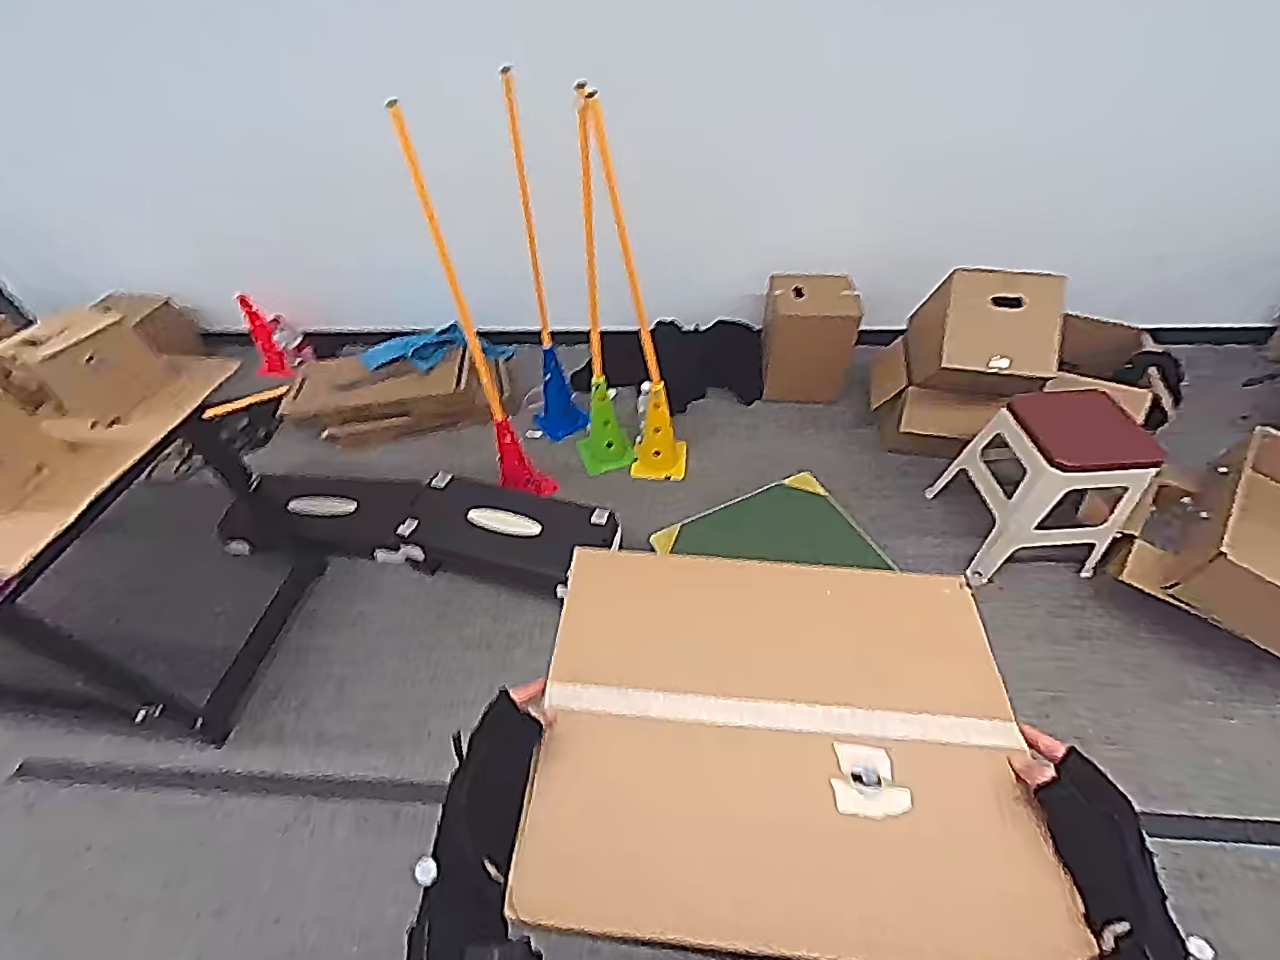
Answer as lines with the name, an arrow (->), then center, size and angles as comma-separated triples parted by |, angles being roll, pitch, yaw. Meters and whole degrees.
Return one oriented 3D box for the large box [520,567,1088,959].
large box -> 0.121, 0.318, 0.581 | 0.408, 0.320, 0.320 | 4, 49, 4
